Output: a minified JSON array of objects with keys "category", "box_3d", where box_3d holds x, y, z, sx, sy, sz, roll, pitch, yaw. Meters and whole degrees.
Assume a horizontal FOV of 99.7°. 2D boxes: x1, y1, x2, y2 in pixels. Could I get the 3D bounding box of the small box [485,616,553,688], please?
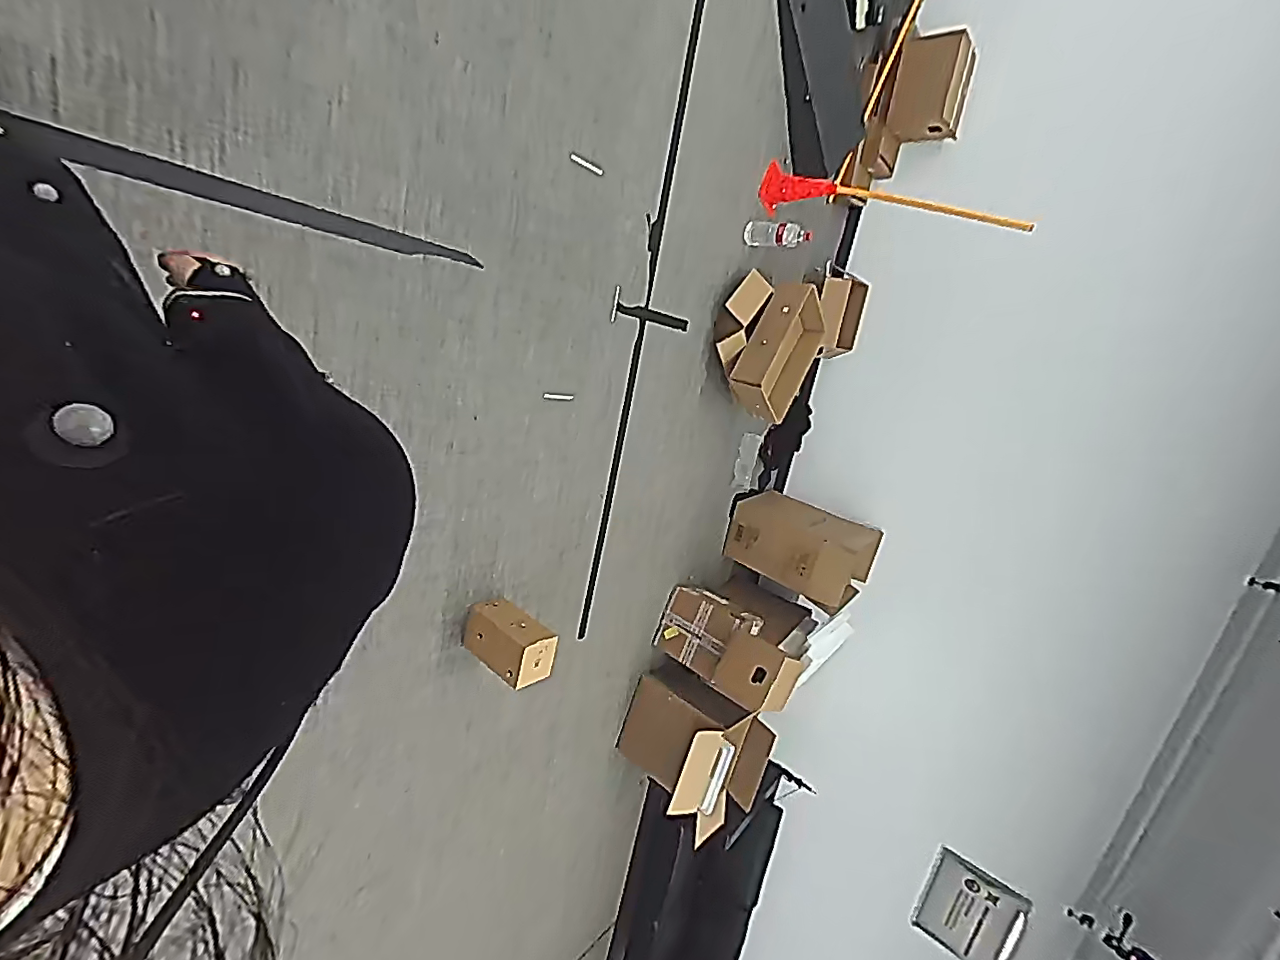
[{"category":"small box","box_3d":[-0.452,0.632,2.005,0.168,0.176,0.179,-2,109,-54]}]
